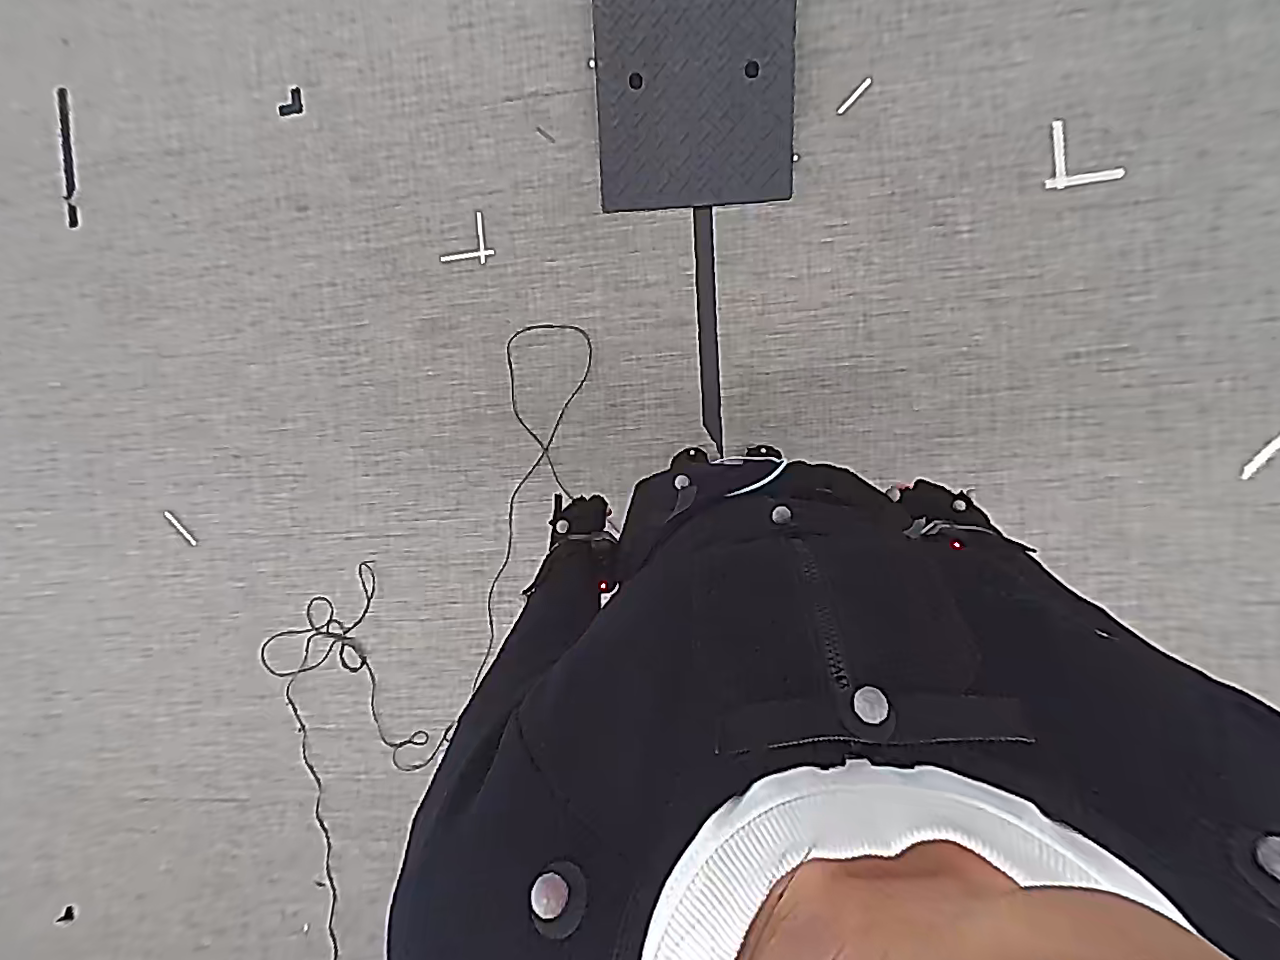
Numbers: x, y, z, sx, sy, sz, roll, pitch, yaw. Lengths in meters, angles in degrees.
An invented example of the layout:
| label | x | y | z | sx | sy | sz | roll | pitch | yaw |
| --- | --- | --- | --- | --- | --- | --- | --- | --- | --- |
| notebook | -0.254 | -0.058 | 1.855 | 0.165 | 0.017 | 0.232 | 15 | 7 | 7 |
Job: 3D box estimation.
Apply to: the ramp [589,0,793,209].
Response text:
| label | x | y | z | sx | sy | sz | roll | pitch | yaw |
| --- | --- | --- | --- | --- | --- | --- | --- | --- | --- |
| ramp | 0.117 | -1.204 | 1.285 | 0.509 | 0.206 | 0.991 | -3 | 94 | 5 |
